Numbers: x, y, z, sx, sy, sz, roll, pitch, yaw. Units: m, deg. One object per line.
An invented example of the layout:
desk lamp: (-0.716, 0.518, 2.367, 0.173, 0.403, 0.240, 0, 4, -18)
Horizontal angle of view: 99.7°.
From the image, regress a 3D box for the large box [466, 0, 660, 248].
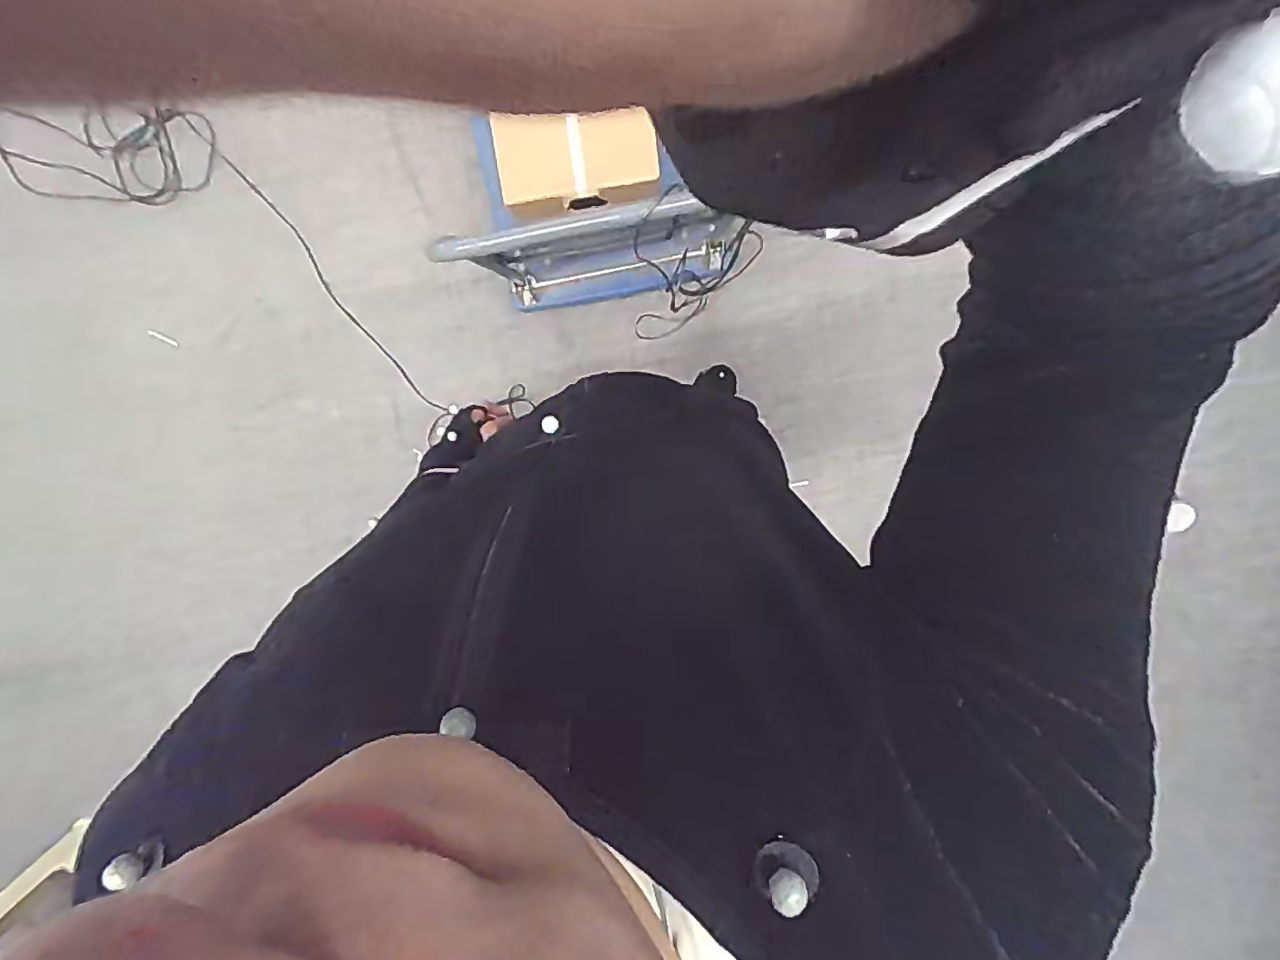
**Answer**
large box: (-0.138, -0.765, 1.162, 0.320, 0.320, 0.408, -7, 100, 3)
